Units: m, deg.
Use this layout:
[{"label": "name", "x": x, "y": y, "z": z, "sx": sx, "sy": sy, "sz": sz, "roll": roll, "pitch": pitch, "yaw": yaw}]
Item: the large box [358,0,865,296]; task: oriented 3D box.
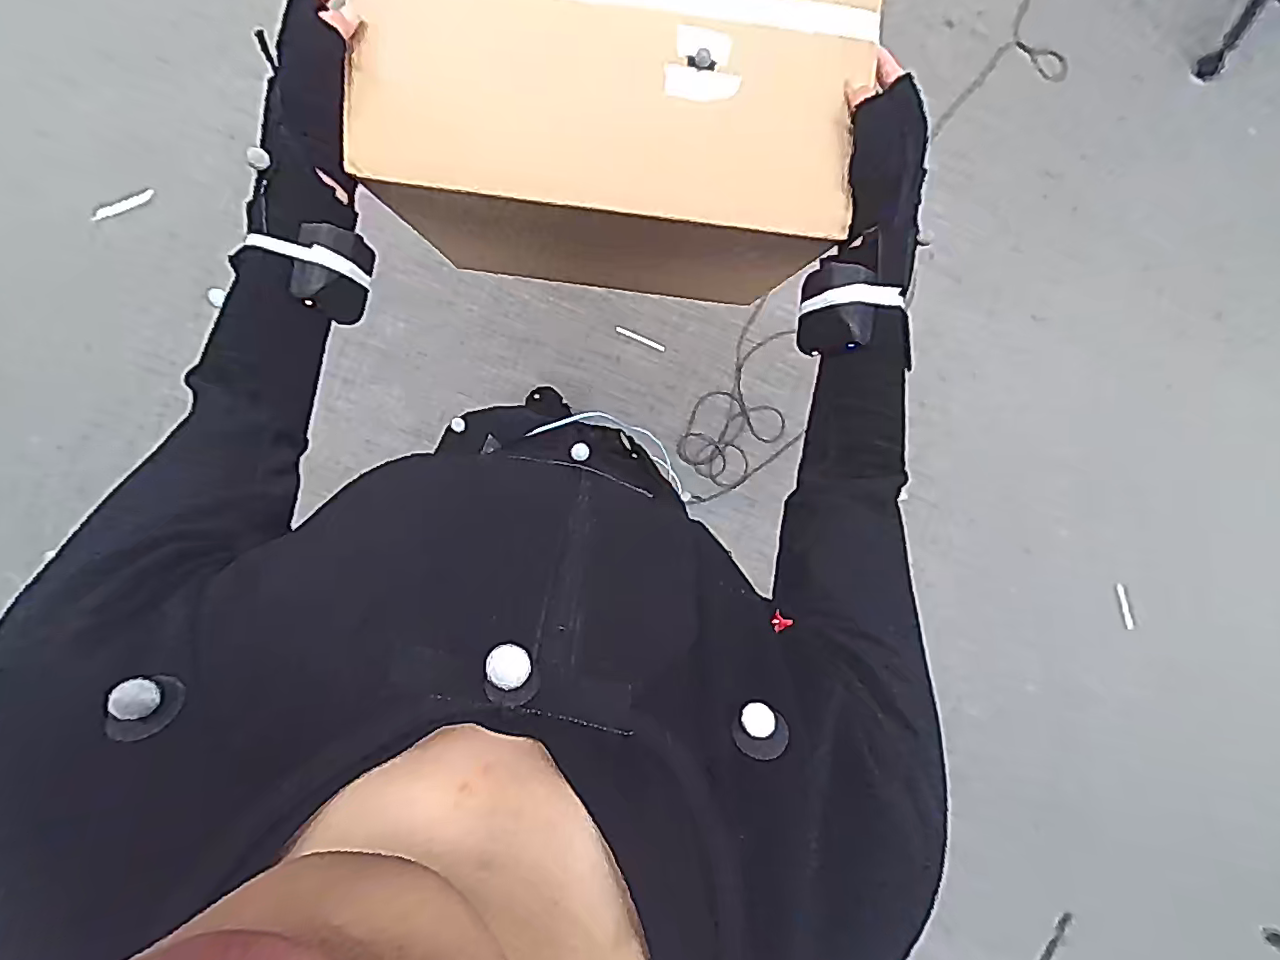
[{"label": "large box", "x": -0.028, "y": -0.399, "z": 0.574, "sx": 0.408, "sy": 0.320, "sz": 0.320, "roll": 5, "pitch": 99, "yaw": -5}]
